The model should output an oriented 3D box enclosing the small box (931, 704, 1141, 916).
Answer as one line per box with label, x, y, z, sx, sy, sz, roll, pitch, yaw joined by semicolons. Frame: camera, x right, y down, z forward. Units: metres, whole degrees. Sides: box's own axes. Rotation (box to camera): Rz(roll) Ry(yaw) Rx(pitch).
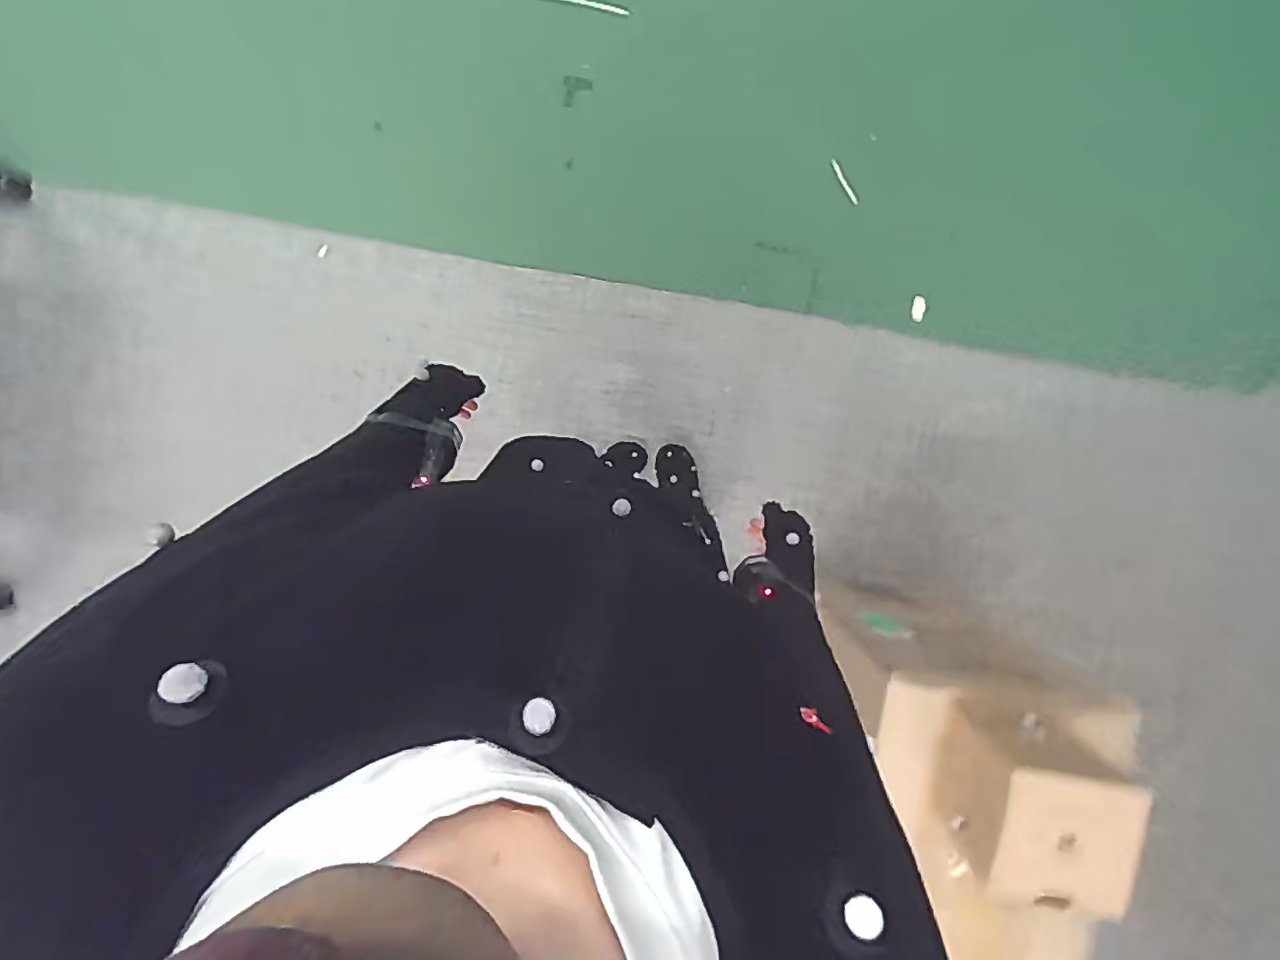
small box;0.537;0.449;0.762;0.168;0.176;0.179;8;94;5
